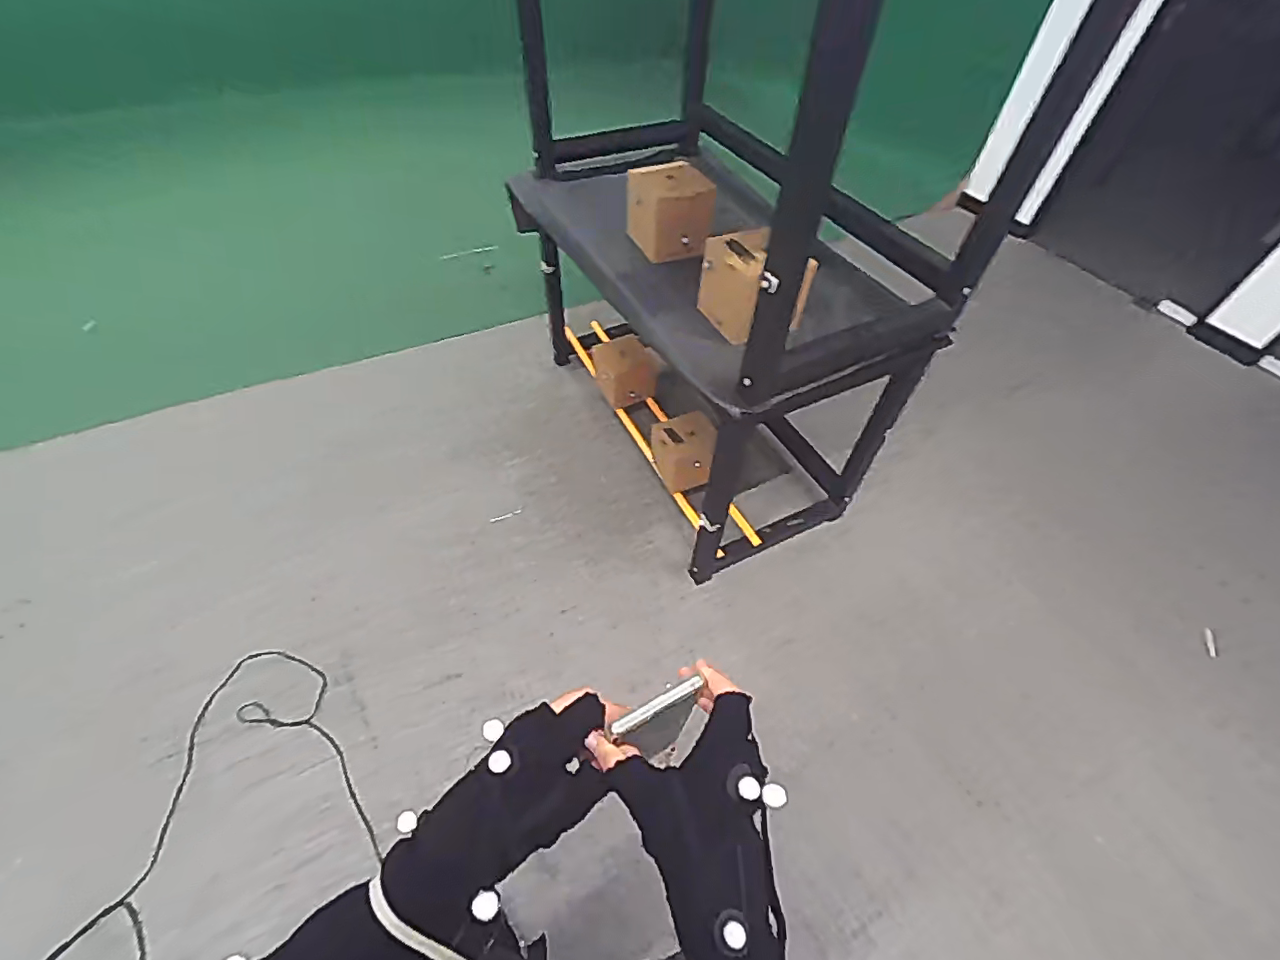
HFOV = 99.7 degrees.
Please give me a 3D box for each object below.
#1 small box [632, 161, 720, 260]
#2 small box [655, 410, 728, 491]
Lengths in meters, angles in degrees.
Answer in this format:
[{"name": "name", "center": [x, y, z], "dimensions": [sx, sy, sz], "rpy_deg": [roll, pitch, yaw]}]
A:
[{"name": "small box", "center": [0.084, -0.696, 1.399], "dimensions": [0.168, 0.176, 0.179], "rpy_deg": [-18, 54, -16]}, {"name": "small box", "center": [0.156, -0.090, 1.714], "dimensions": [0.179, 0.176, 0.168], "rpy_deg": [-18, 55, -15]}]
